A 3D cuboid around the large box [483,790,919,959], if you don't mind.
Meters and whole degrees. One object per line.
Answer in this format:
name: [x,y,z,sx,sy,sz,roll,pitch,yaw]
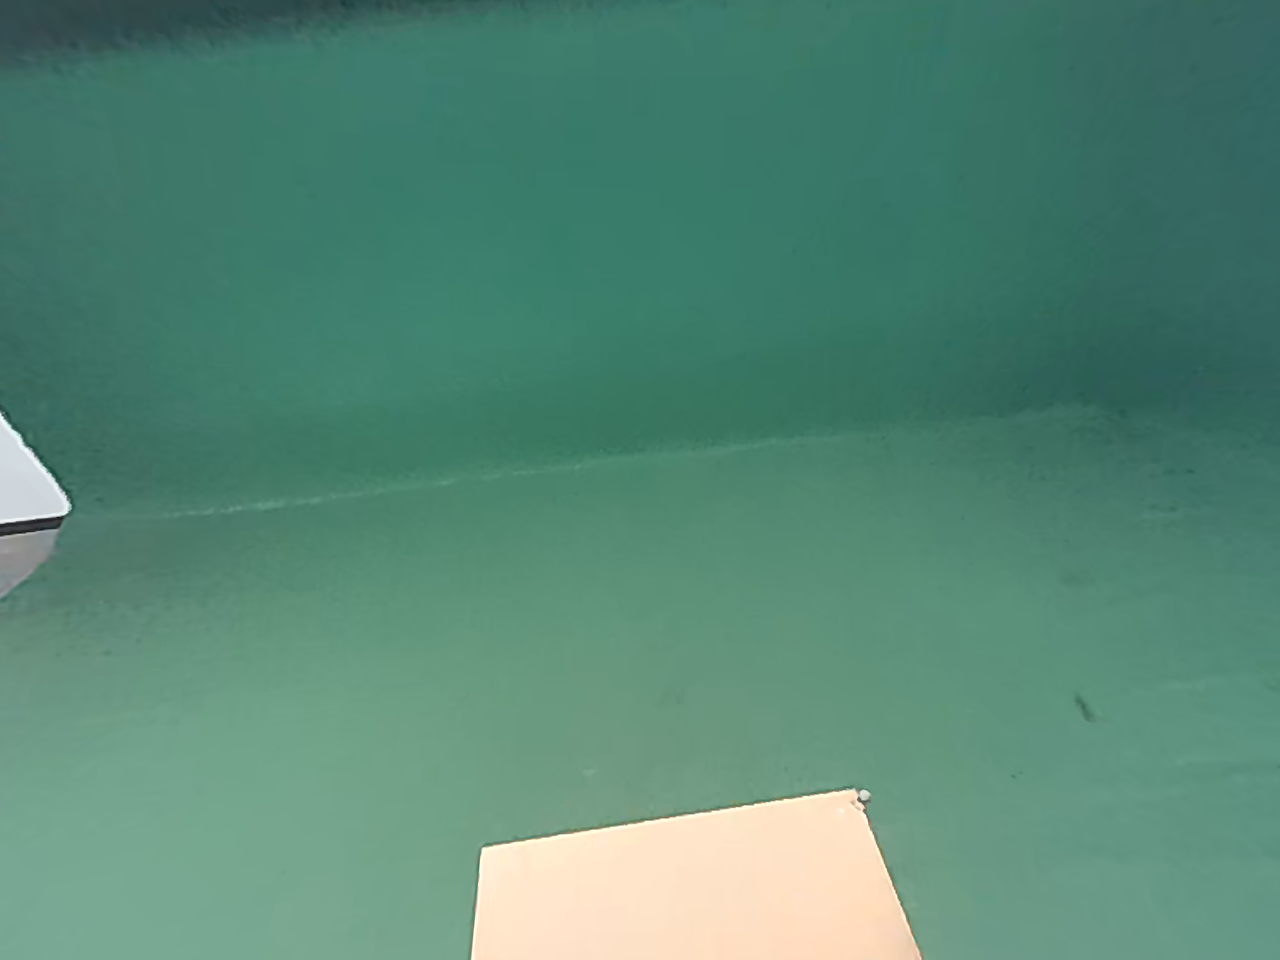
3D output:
large box: [0.064,0.580,0.565,0.408,0.320,0.320,-7,42,-4]
